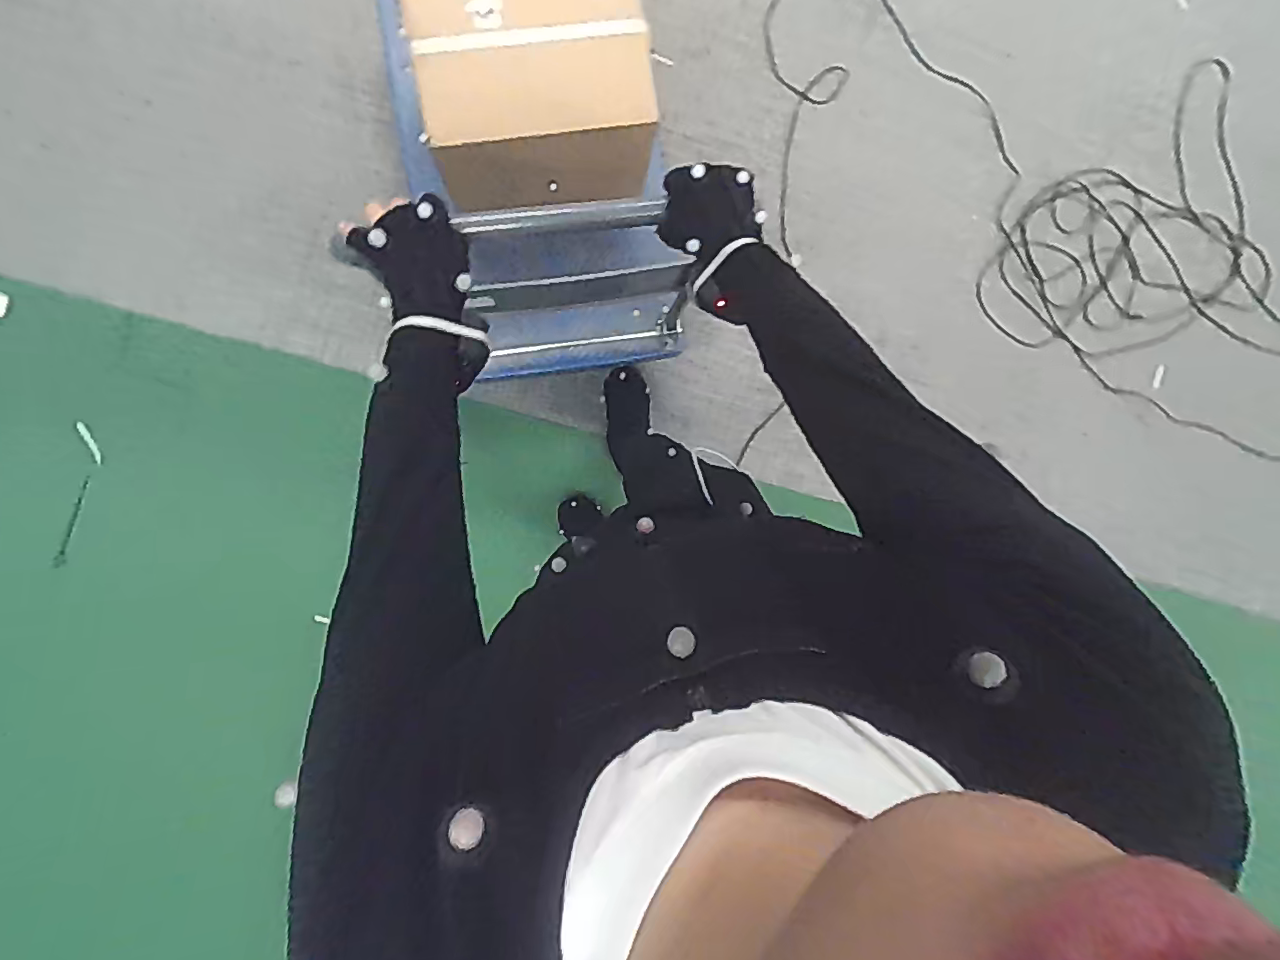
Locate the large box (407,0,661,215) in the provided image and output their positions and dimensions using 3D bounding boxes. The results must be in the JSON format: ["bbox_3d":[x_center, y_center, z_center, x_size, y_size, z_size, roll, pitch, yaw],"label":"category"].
[{"bbox_3d":[-0.195,-0.767,1.075,0.408,0.320,0.320,-10,94,-5],"label":"large box"}]
